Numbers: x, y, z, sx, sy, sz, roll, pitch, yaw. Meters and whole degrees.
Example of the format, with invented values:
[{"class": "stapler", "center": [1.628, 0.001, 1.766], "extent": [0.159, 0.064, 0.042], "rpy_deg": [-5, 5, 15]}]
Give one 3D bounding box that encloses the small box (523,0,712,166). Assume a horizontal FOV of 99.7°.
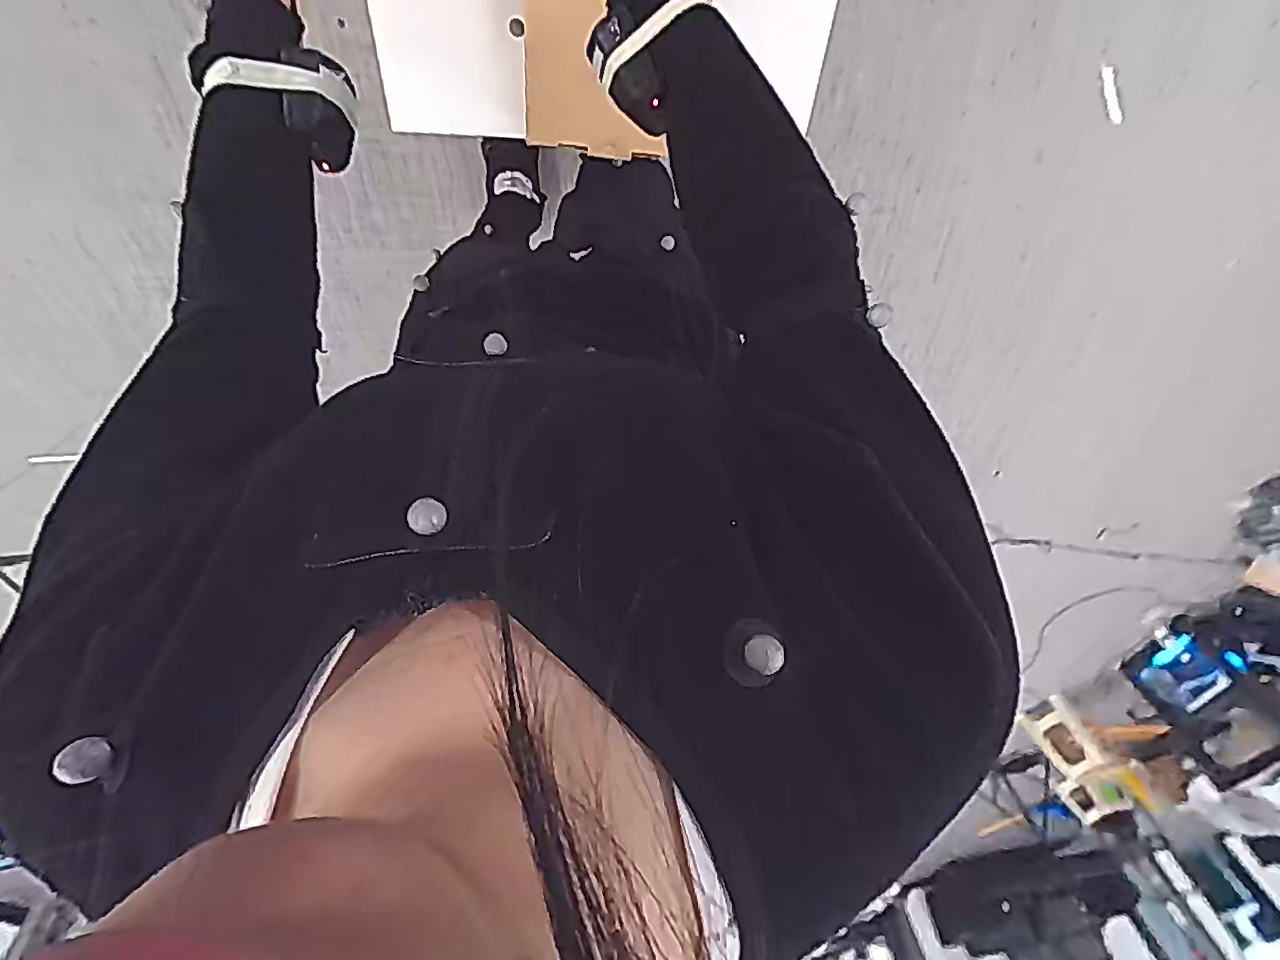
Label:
[{"class": "small box", "center": [-0.033, -0.442, 0.547], "extent": [0.168, 0.176, 0.179], "rpy_deg": [0, 130, -11]}]
